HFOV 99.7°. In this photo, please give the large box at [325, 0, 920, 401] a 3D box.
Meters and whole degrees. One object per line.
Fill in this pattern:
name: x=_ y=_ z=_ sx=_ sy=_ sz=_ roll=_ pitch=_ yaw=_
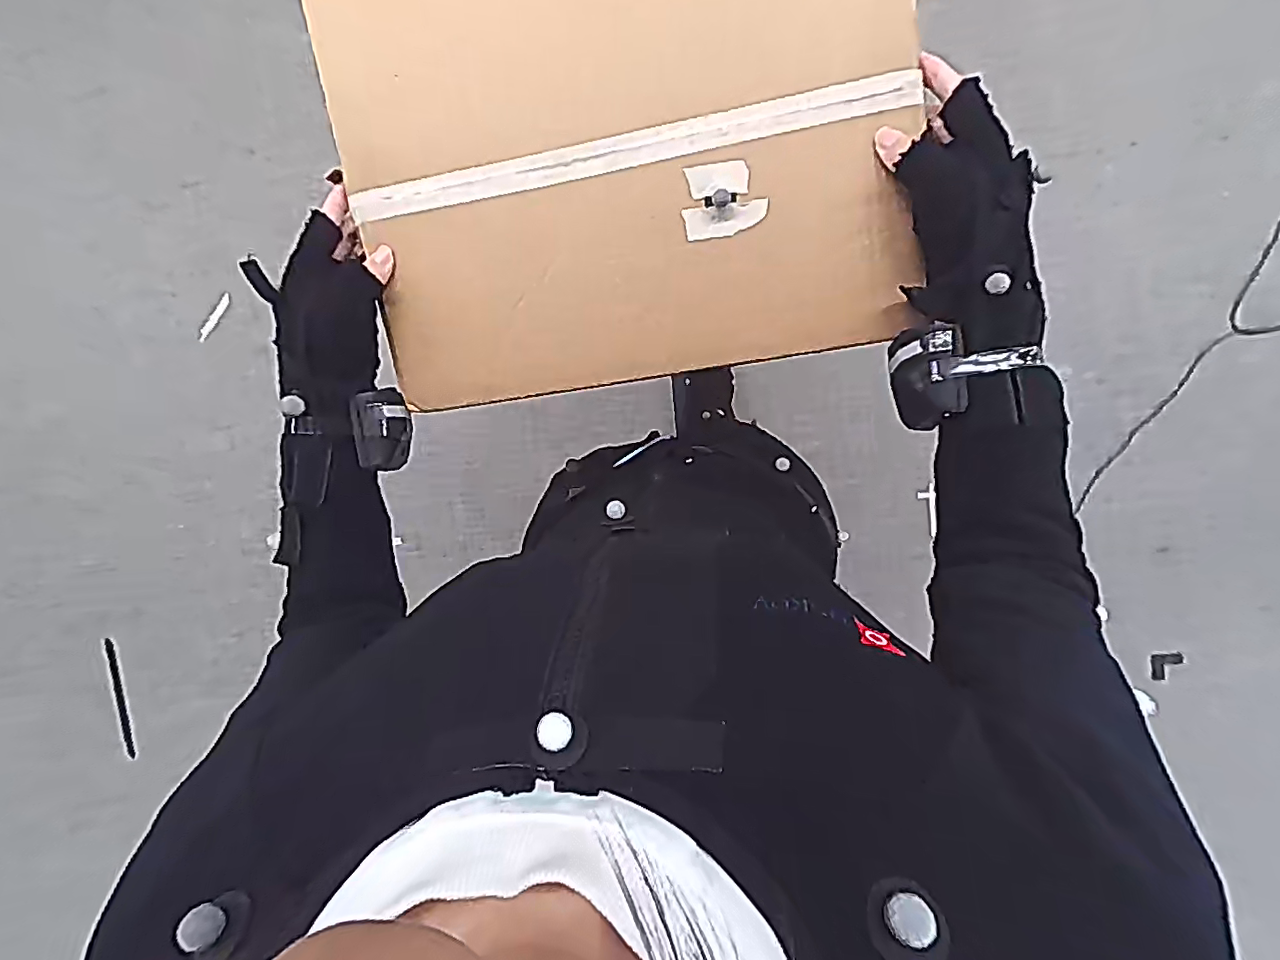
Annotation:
large box: x=0.001 y=-0.274 z=0.540 sx=0.408 sy=0.320 sz=0.320 roll=-8 pitch=103 yaw=7
